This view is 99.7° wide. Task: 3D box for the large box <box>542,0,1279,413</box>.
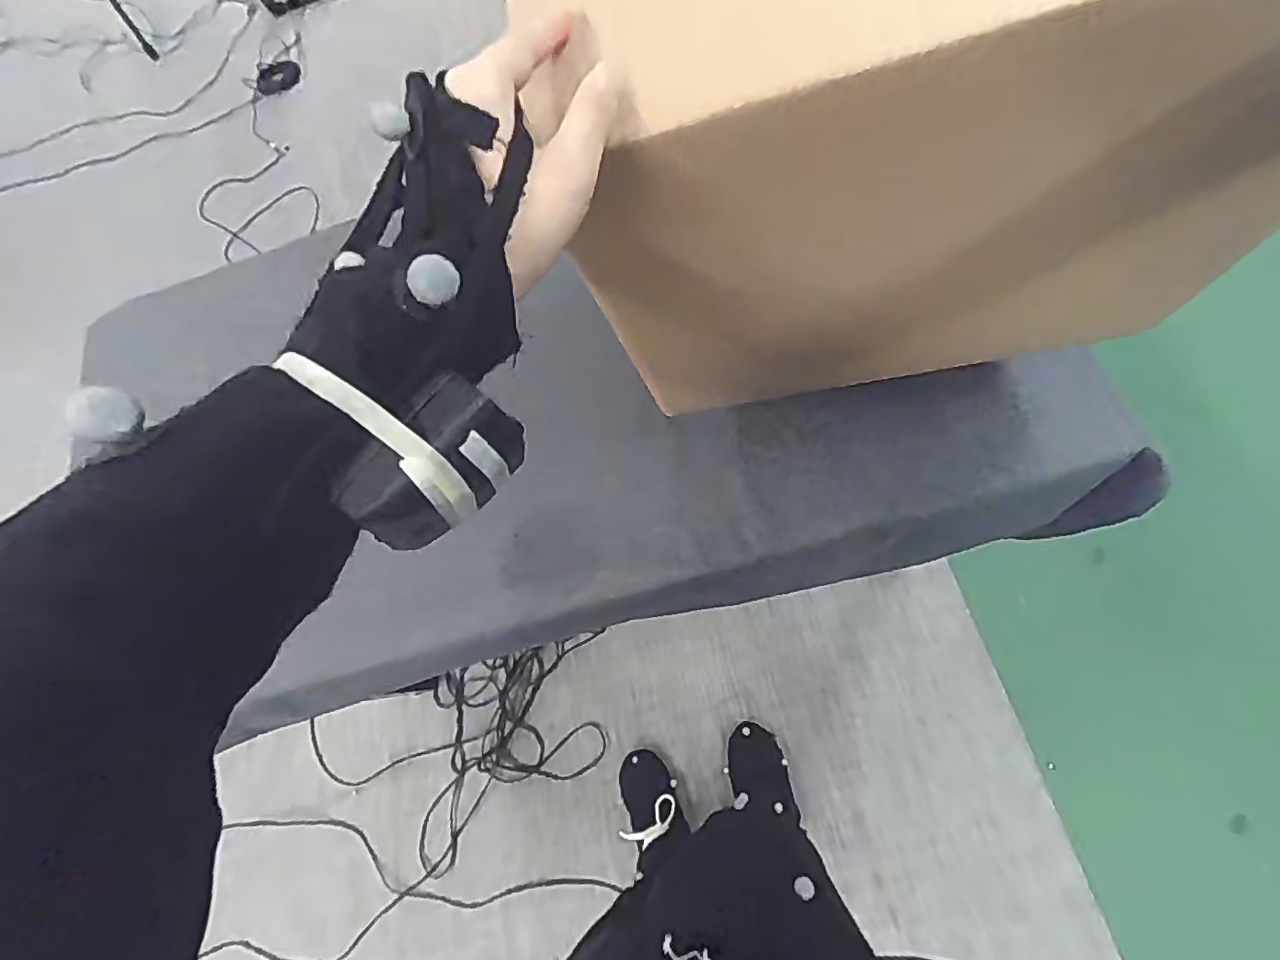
[{"bbox_3d":[0.171,-0.274,0.388,0.408,0.320,0.320,-9,74,12],"label":"large box"}]
